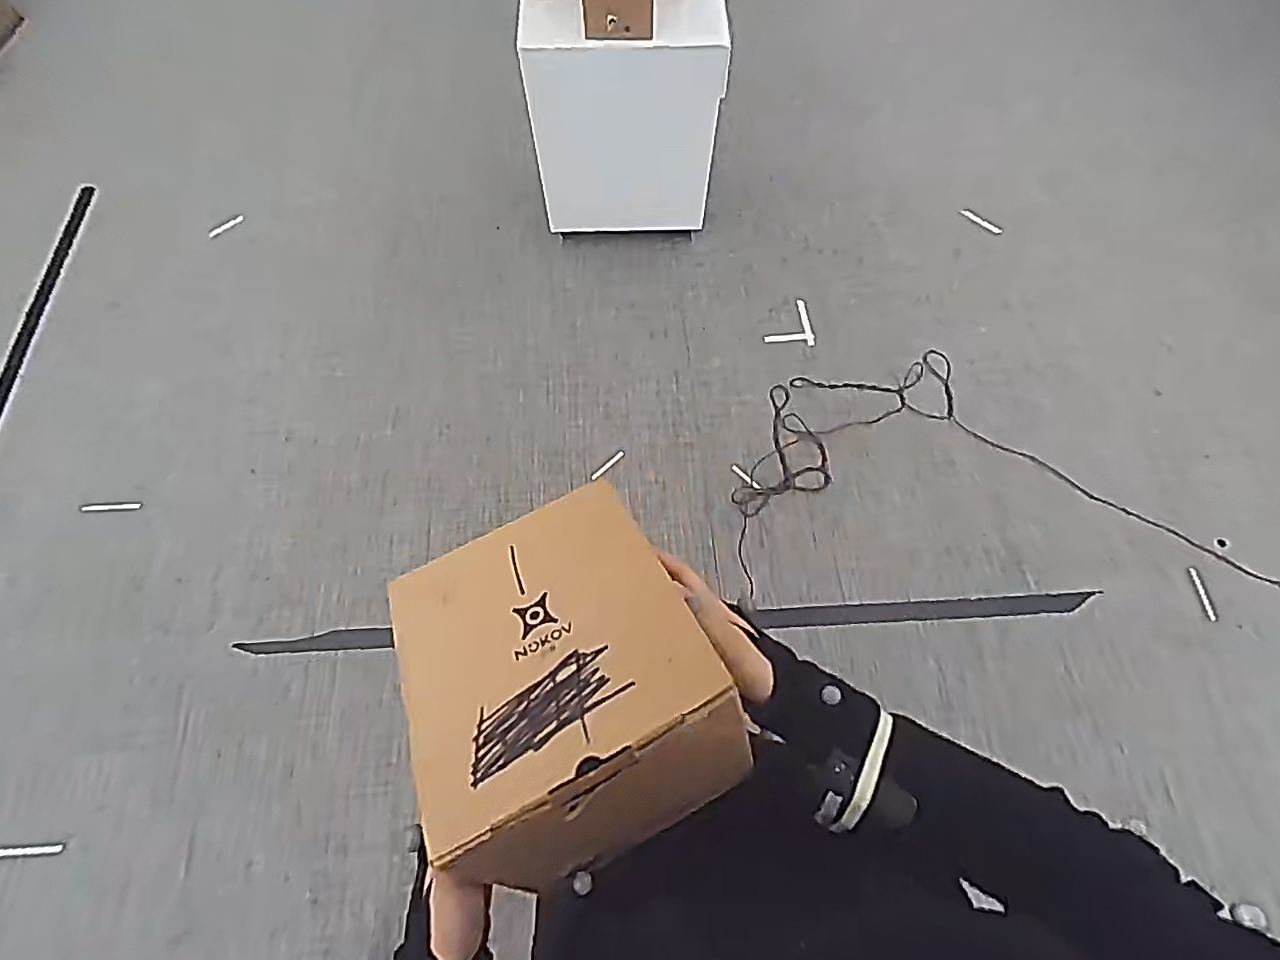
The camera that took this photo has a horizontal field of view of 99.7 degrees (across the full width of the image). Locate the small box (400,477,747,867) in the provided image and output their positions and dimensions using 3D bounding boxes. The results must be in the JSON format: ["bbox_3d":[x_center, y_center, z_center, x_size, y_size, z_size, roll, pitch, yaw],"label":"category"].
[{"bbox_3d":[-0.039,0.137,0.378,0.168,0.176,0.179,-26,47,-8],"label":"small box"}]
